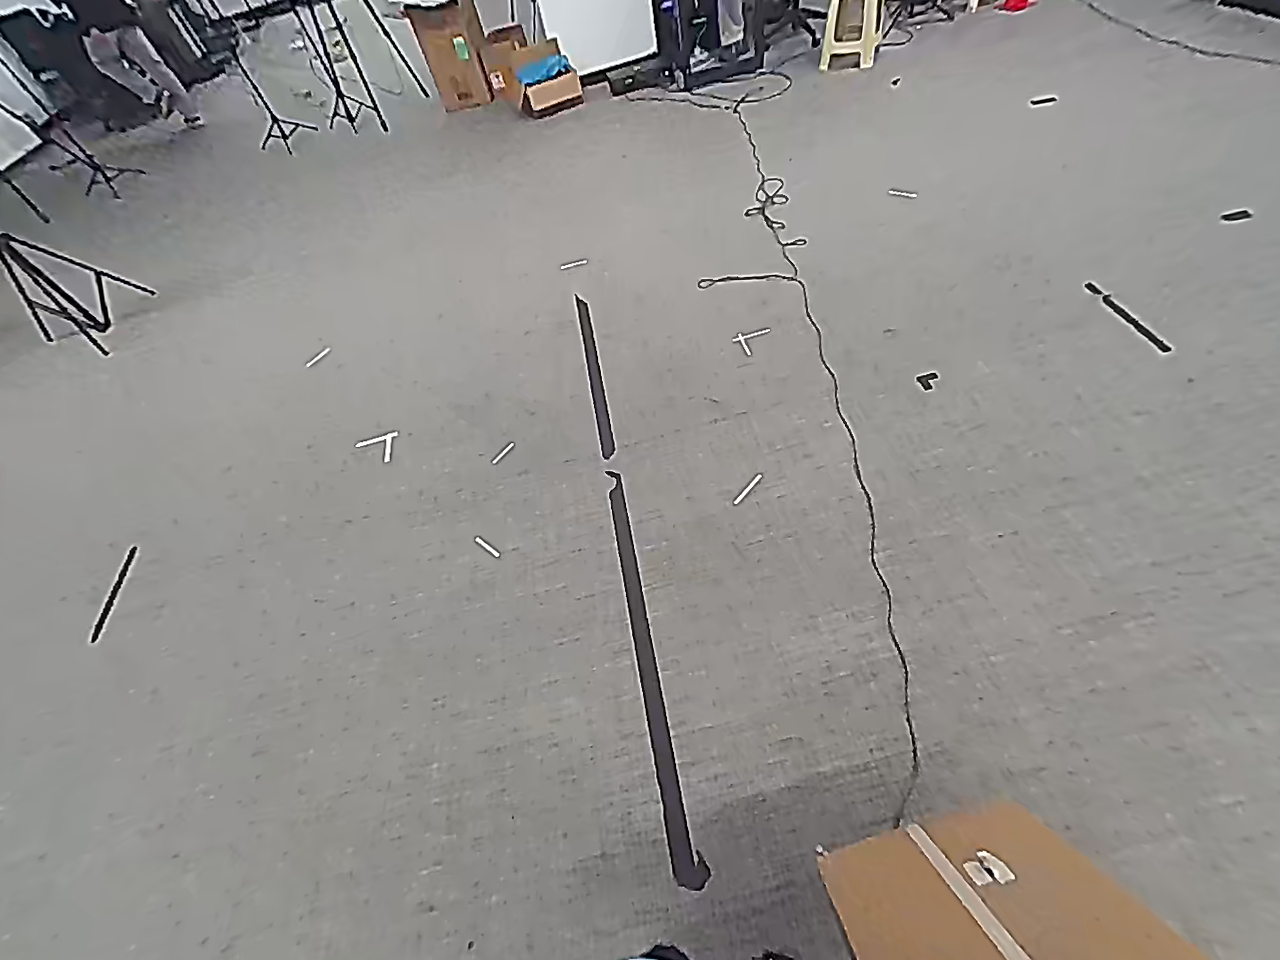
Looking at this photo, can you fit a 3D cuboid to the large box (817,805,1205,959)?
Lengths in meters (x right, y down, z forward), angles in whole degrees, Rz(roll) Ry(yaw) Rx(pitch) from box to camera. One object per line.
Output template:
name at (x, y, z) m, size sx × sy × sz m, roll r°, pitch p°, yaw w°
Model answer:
large box at (0.458, 0.669, 0.623) m, size 0.320 × 0.408 × 0.320 m, roll -18°, pitch 83°, yaw 1°
